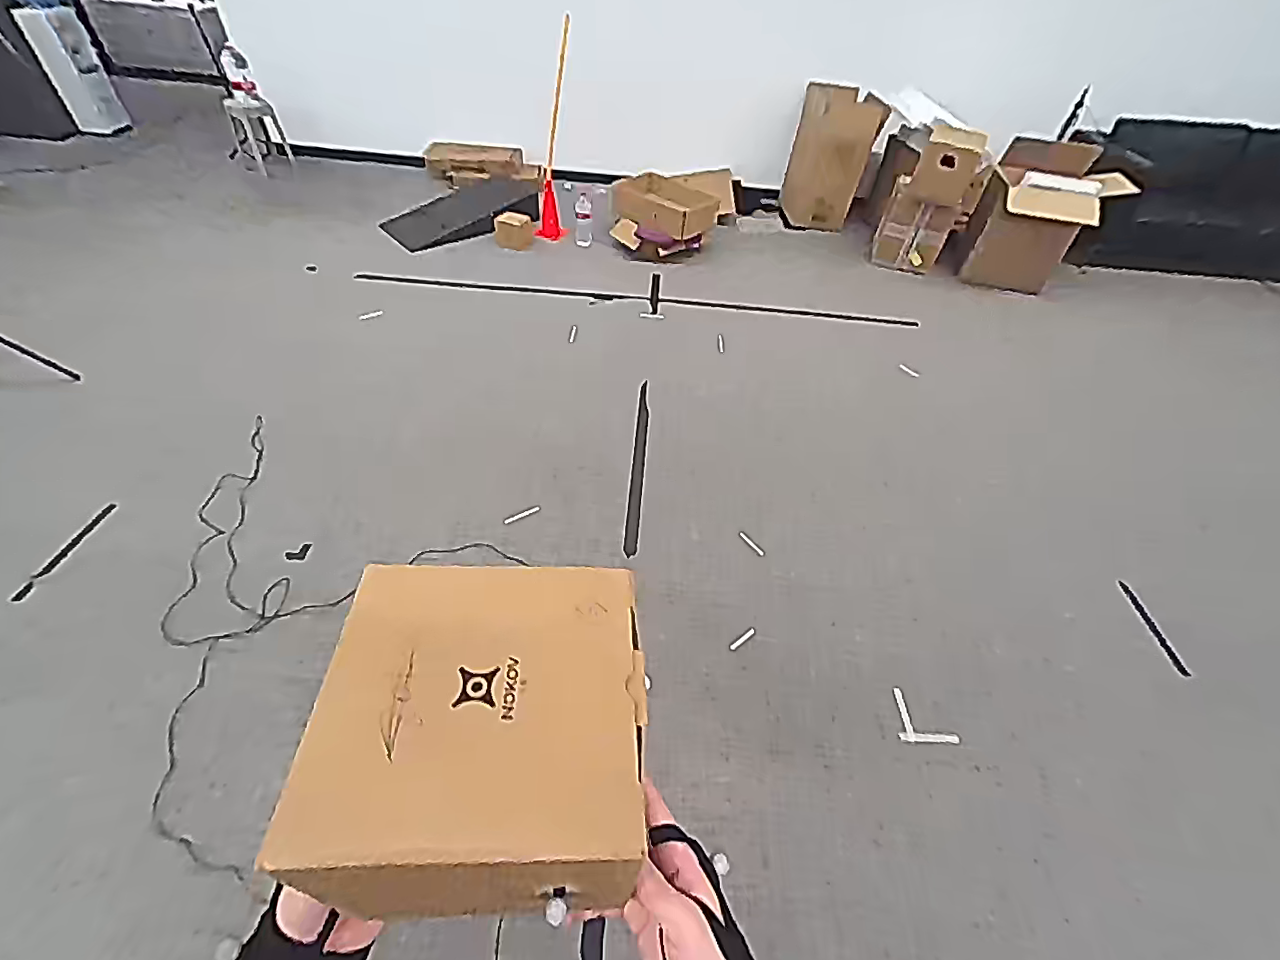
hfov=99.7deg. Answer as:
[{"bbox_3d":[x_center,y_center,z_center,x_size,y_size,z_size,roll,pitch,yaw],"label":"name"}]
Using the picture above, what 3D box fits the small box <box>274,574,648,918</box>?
[{"bbox_3d":[-0.093,0.181,0.368,0.179,0.176,0.168,1,44,-5],"label":"small box"}]
